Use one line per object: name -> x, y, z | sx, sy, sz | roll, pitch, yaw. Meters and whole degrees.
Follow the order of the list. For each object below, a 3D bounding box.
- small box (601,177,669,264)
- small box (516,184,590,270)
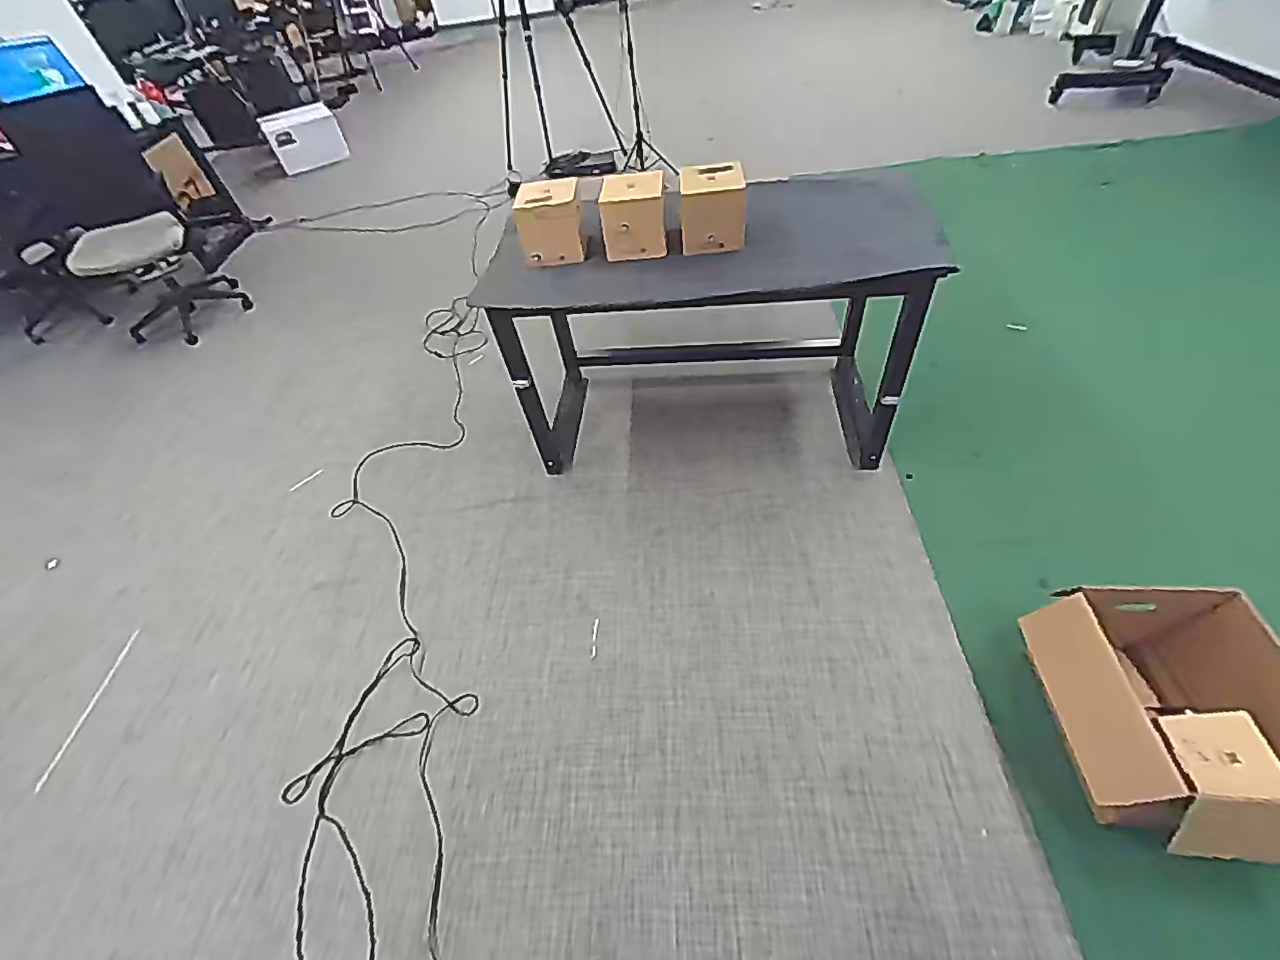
small box -> -0.008, -0.720, 1.517 | 0.168, 0.176, 0.179 | -2, 48, 7
small box -> -0.242, -0.718, 1.548 | 0.168, 0.176, 0.179 | -4, 48, 5
